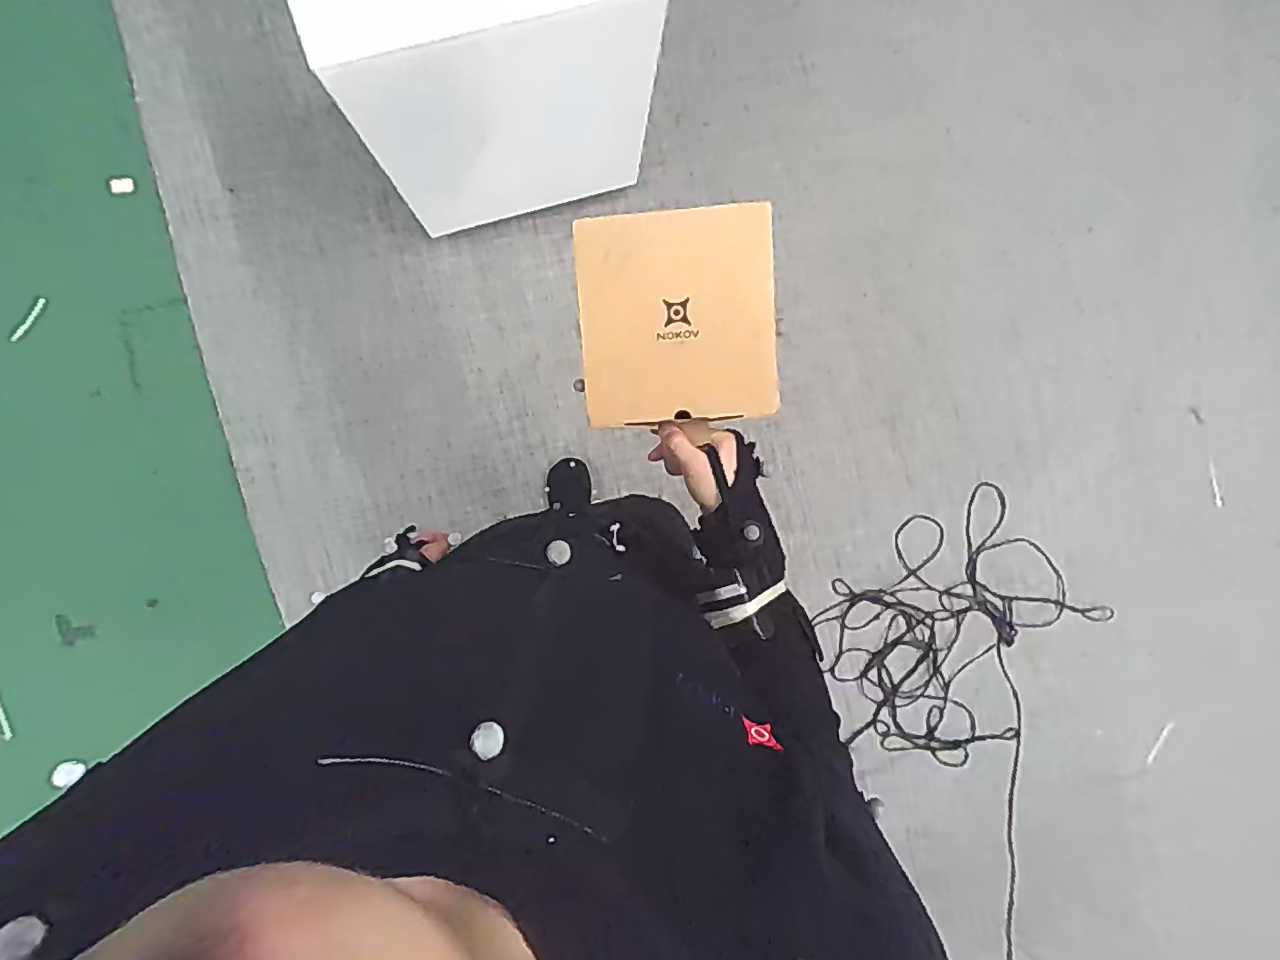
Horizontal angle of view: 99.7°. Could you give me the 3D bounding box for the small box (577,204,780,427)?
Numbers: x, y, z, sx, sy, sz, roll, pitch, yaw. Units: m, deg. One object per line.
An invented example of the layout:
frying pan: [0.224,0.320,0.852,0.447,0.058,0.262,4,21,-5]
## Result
small box: [0.036,-0.144,0.532,0.168,0.176,0.179,-4,97,4]
